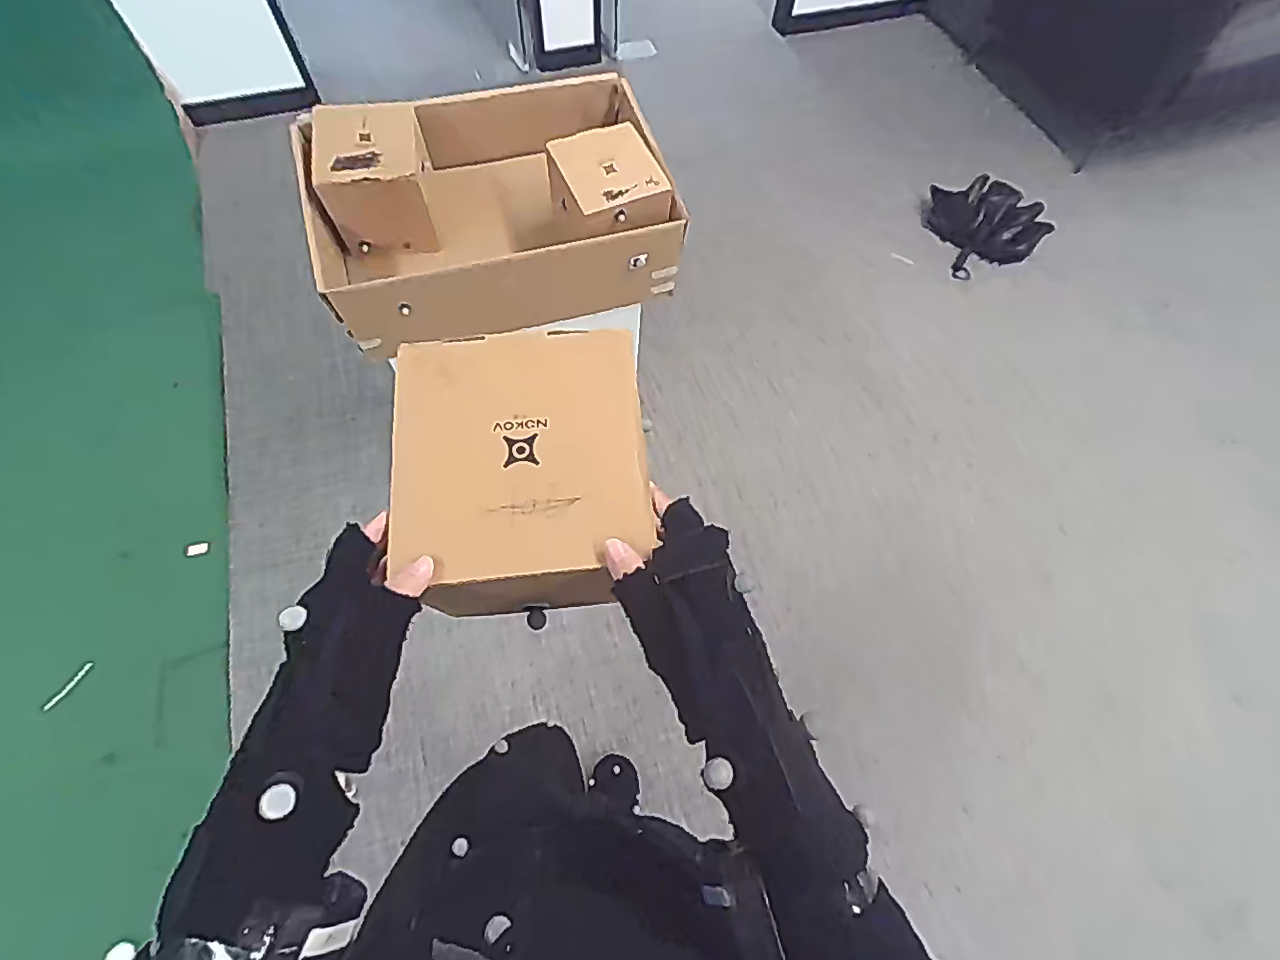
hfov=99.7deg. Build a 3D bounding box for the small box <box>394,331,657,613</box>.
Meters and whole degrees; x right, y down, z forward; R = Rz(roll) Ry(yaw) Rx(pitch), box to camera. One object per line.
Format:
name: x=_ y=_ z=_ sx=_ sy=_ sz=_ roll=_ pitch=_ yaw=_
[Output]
small box: x=-0.082 y=0.004 z=0.439 sx=0.168 sy=0.176 sz=0.179 roll=-5 pitch=71 yaw=-4
